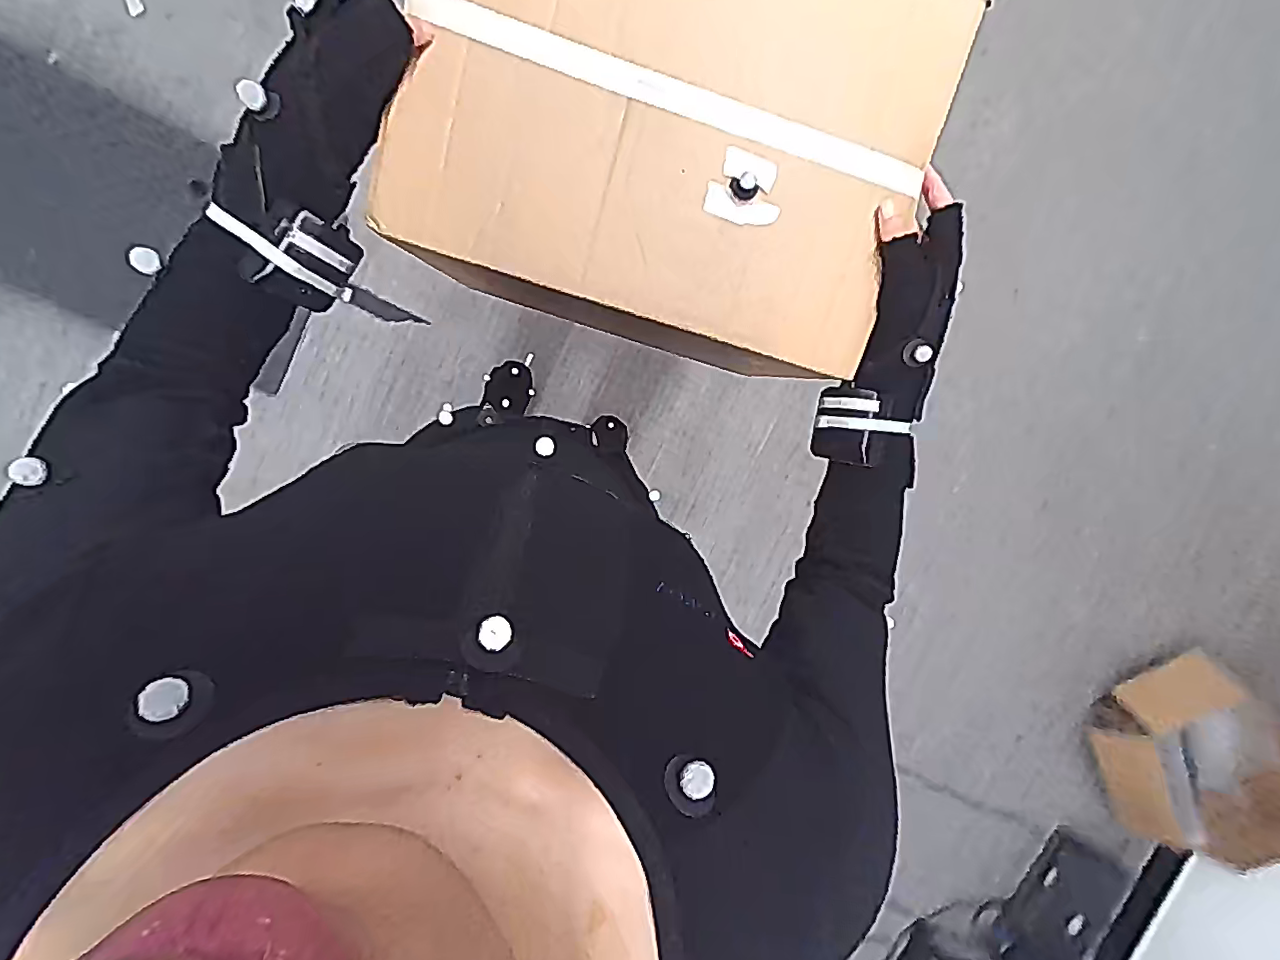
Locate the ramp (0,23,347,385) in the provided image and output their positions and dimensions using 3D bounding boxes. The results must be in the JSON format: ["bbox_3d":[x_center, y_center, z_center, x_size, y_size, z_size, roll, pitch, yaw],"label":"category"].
[{"bbox_3d":[-1.251,-0.650,1.206,0.991,0.206,0.509,24,95,-8],"label":"ramp"}]

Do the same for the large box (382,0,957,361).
[{"bbox_3d":[0.011,-0.327,0.563,0.408,0.320,0.320,14,101,-8],"label":"large box"}]
